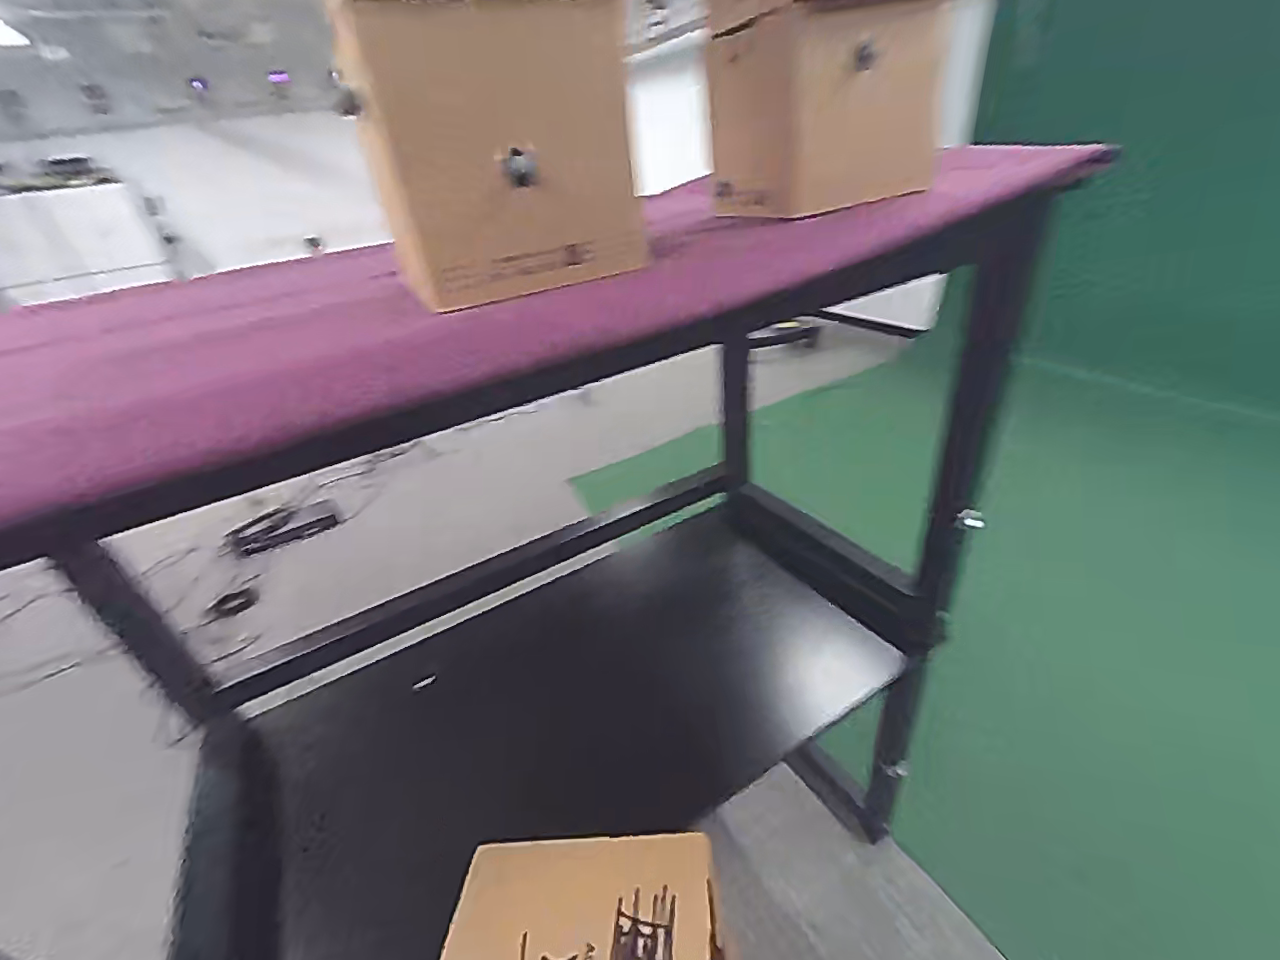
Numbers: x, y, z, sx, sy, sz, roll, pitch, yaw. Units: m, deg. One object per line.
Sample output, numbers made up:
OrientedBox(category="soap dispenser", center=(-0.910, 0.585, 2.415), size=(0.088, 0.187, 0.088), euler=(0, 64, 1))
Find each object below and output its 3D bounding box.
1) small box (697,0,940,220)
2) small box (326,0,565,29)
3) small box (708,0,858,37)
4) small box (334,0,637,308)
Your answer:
OrientedBox(category="small box", center=(0.181, -0.381, 0.574), size=(0.179, 0.176, 0.168), euler=(-20, 32, -17))
OrientedBox(category="small box", center=(-0.117, -0.375, 0.325), size=(0.179, 0.176, 0.168), euler=(-22, 34, -20))
OrientedBox(category="small box", center=(0.165, -0.512, 0.478), size=(0.179, 0.176, 0.168), euler=(-22, 33, -21))
OrientedBox(category="small box", center=(-0.114, -0.240, 0.417), size=(0.168, 0.176, 0.179), euler=(-20, 34, -21))
